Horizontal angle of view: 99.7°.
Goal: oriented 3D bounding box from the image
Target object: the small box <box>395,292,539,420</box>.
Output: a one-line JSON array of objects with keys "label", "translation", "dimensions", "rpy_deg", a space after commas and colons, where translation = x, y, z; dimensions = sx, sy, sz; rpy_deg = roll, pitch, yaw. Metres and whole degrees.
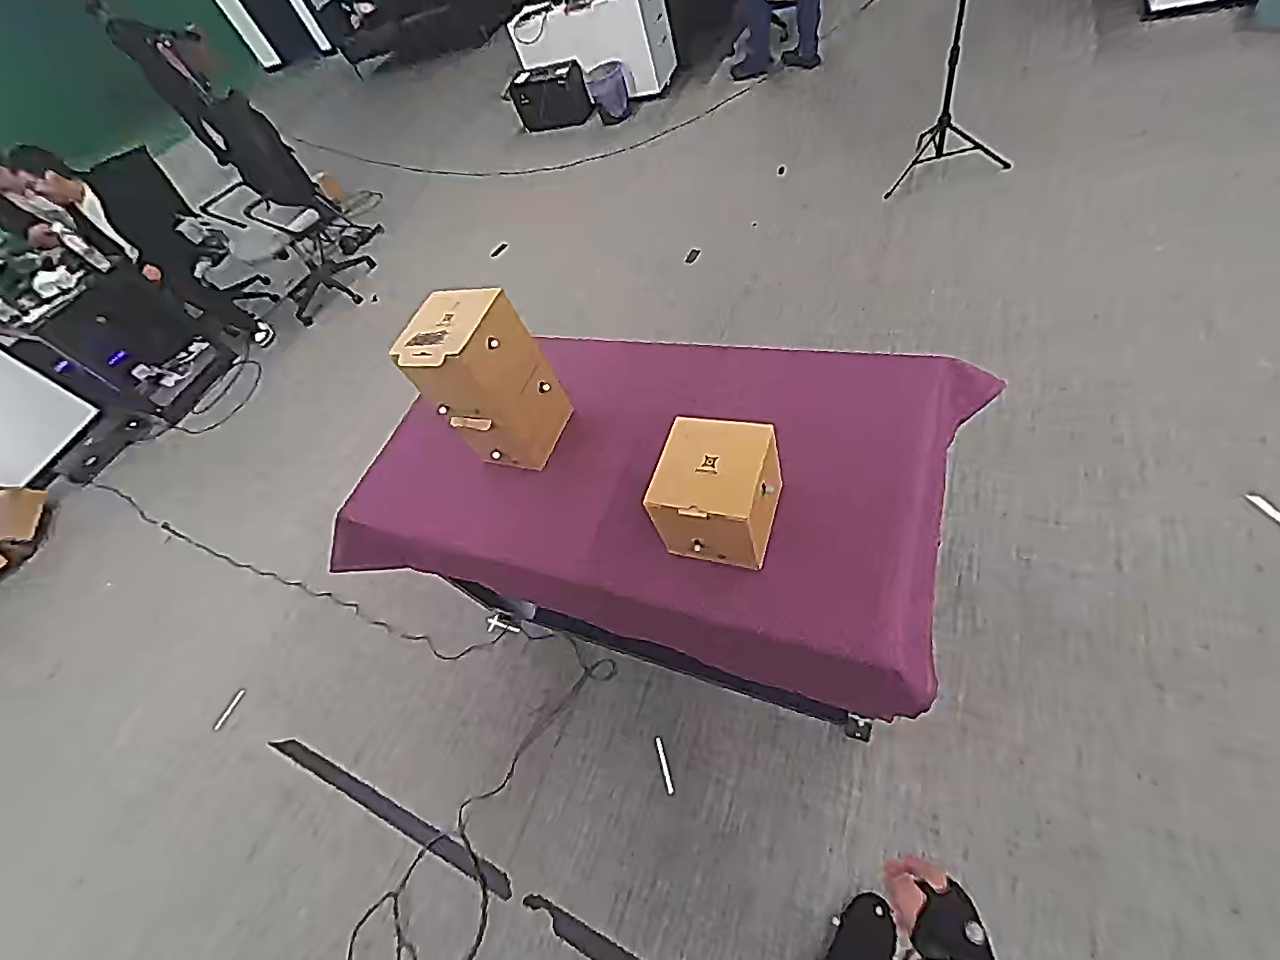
[{"label": "small box", "translation": [-0.318, -0.232, 1.034], "dimensions": [0.168, 0.176, 0.179], "rpy_deg": [6, 58, 23]}]

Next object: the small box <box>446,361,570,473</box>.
[{"label": "small box", "translation": [-0.270, -0.140, 1.162], "dimensions": [0.168, 0.176, 0.179], "rpy_deg": [9, 60, 26]}]

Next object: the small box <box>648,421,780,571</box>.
[{"label": "small box", "translation": [0.133, 0.027, 0.899], "dimensions": [0.168, 0.176, 0.179], "rpy_deg": [8, 60, 25]}]
